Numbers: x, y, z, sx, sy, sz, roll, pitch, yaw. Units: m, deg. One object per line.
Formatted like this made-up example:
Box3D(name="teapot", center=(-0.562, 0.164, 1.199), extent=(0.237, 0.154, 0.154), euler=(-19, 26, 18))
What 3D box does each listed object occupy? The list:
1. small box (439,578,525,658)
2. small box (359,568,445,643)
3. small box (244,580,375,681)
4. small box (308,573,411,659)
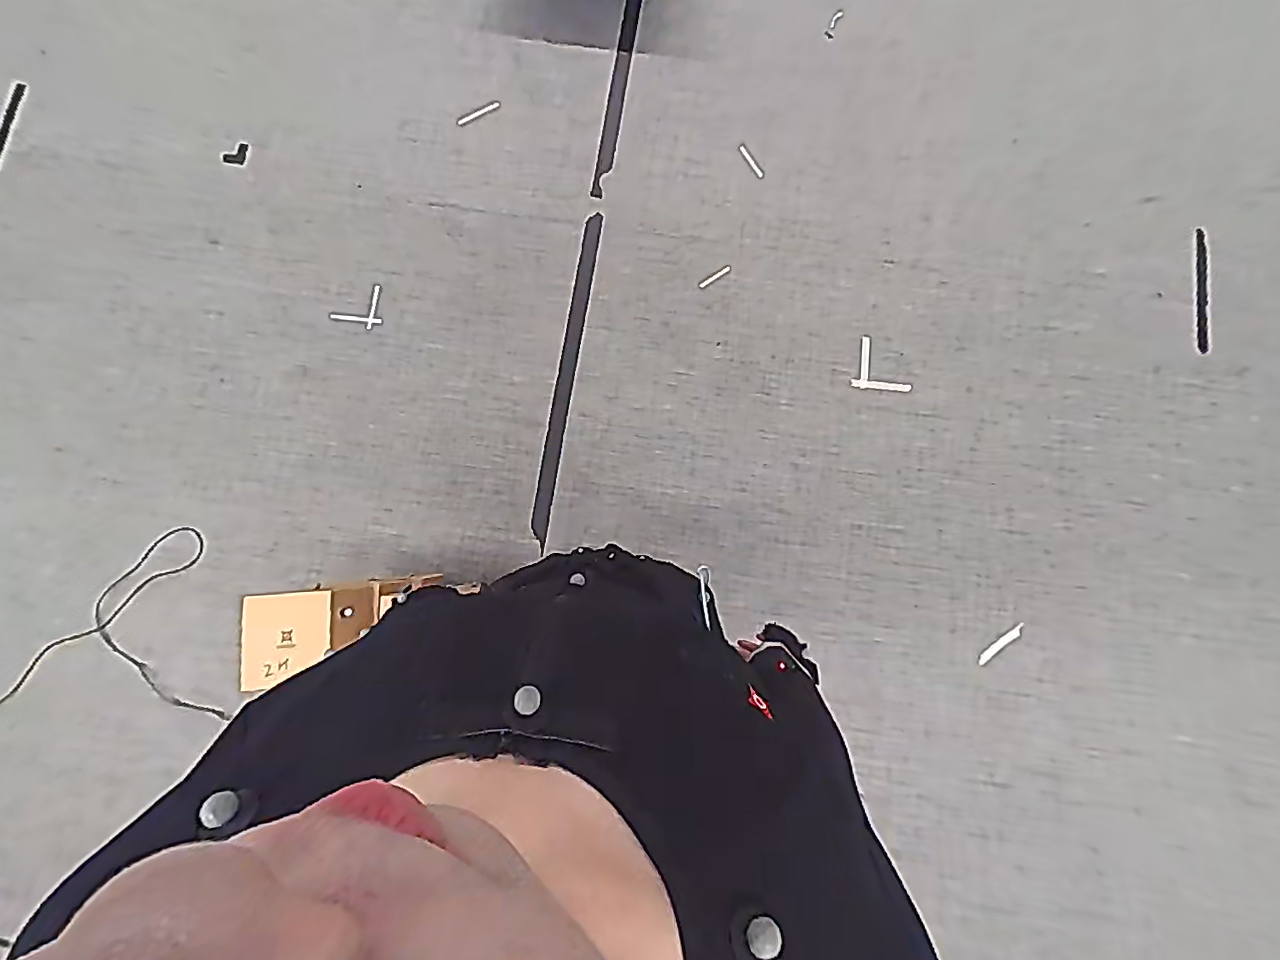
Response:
Box3D(name="small box", center=(-0.405, 0.353, 1.415), extent=(0.168, 0.176, 0.179), euler=(6, 84, 1))
Box3D(name="small box", center=(-0.621, 0.325, 1.416), extent=(0.168, 0.176, 0.179), euler=(-1, 83, -1))
Box3D(name="small box", center=(-0.653, 0.294, 1.088), extent=(0.168, 0.176, 0.179), euler=(-3, 83, 0))
Box3D(name="small box", center=(-0.646, 0.308, 1.252), extent=(0.168, 0.176, 0.179), euler=(0, 82, -1))
